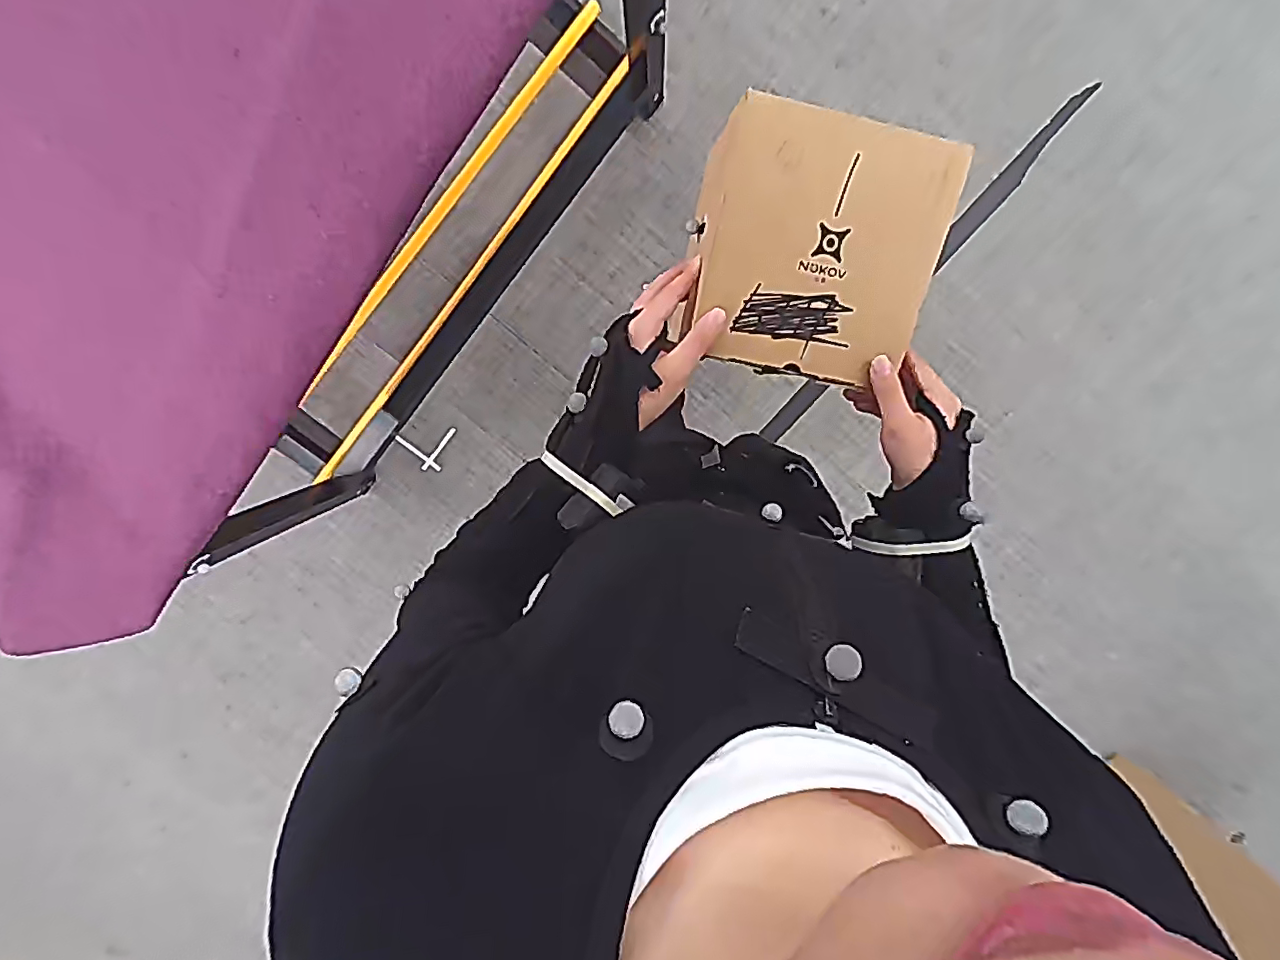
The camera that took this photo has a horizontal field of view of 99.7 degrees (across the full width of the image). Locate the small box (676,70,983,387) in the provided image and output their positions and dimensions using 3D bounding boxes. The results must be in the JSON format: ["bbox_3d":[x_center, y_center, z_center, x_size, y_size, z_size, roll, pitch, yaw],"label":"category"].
[{"bbox_3d":[0.129,-0.190,0.452,0.168,0.176,0.179,10,107,-6],"label":"small box"}]
